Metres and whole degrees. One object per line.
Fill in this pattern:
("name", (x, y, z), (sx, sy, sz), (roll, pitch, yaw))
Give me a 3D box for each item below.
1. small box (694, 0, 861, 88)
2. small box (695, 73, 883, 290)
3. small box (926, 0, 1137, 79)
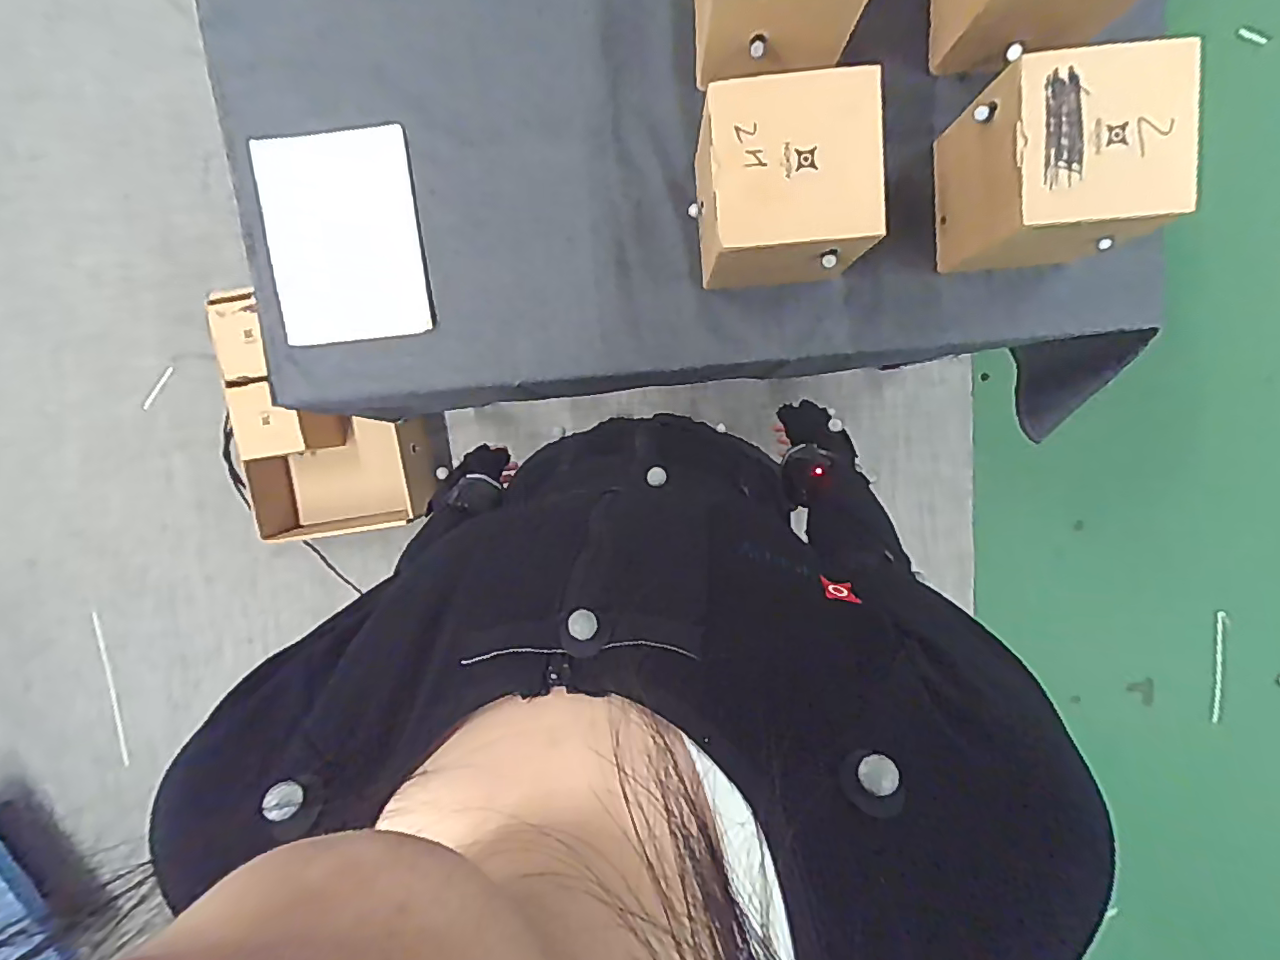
("small box", (0.150, -0.574, 0.609), (0.168, 0.176, 0.179), (-2, 96, 2))
("small box", (0.161, -0.330, 0.631), (0.179, 0.176, 0.168), (-4, 95, 2))
("small box", (0.439, -0.589, 0.597), (0.168, 0.176, 0.179), (-2, 97, 2))
